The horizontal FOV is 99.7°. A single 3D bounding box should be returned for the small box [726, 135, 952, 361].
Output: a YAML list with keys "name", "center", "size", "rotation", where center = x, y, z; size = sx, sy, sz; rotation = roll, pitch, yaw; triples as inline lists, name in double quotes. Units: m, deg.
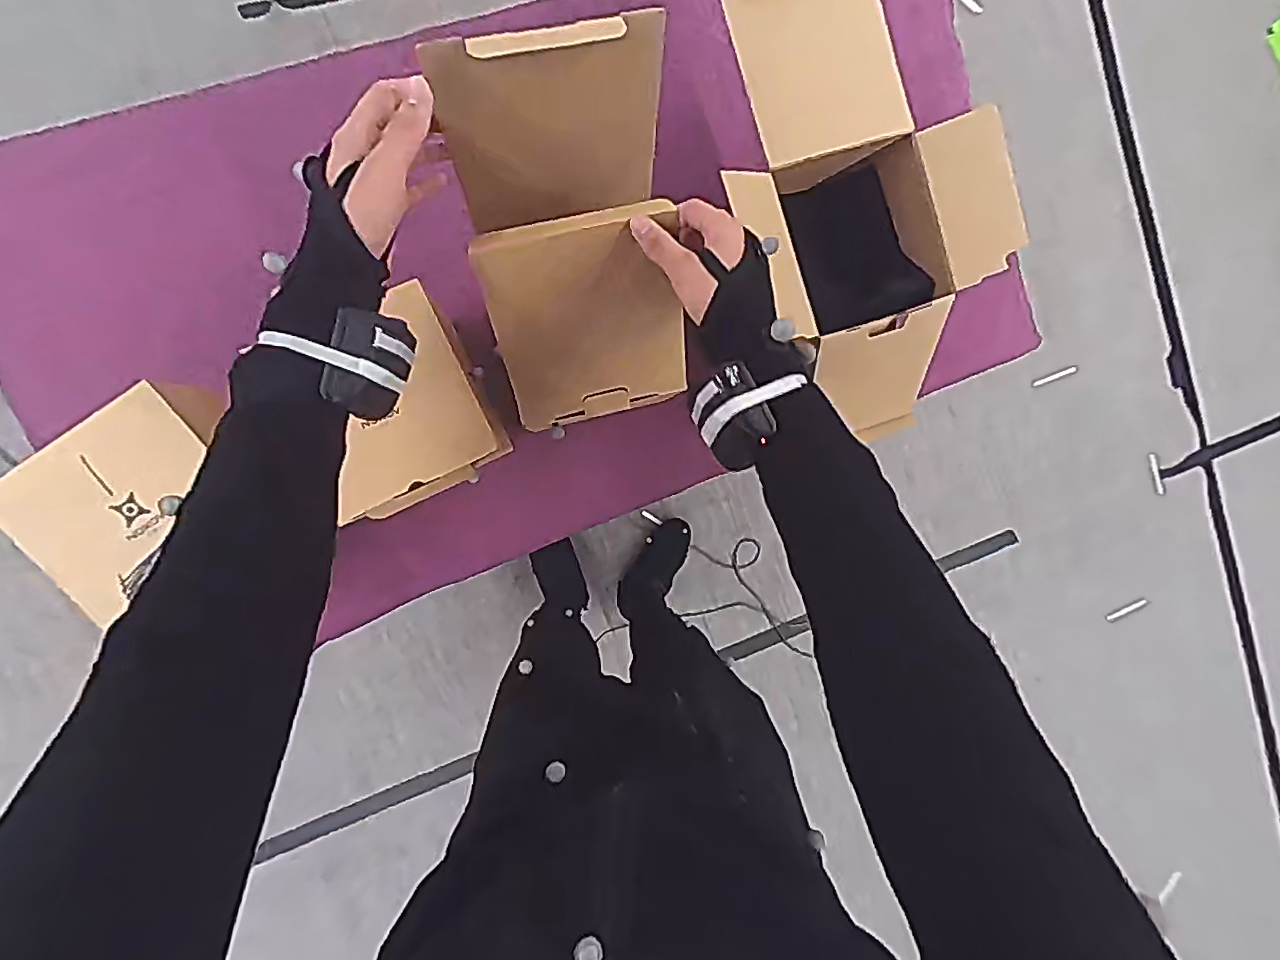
- name: "small box"
  center: [0.216, -0.254, 0.630]
  size: [0.168, 0.176, 0.179]
  rotation: [-18, 97, -7]
